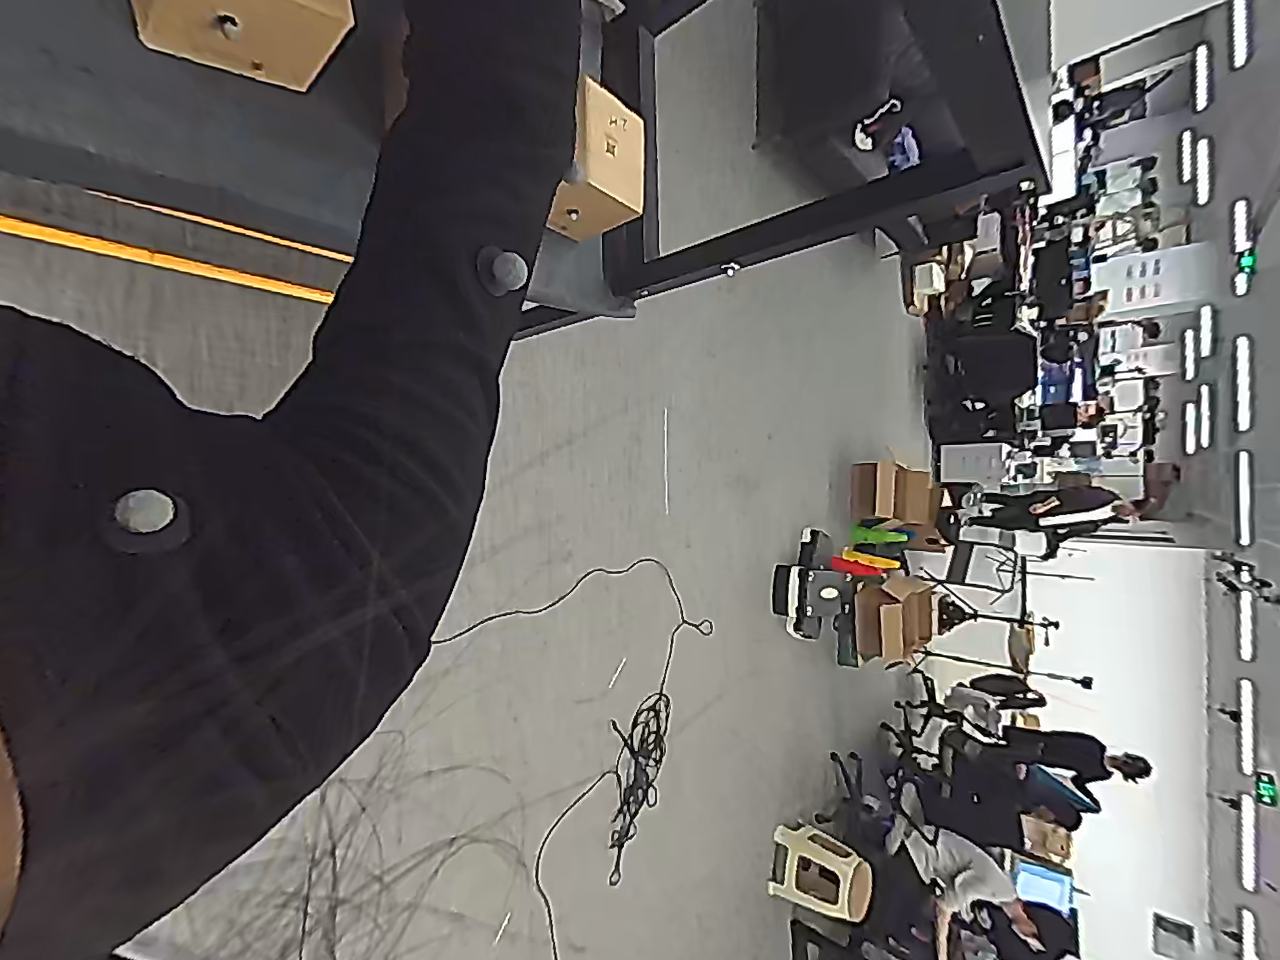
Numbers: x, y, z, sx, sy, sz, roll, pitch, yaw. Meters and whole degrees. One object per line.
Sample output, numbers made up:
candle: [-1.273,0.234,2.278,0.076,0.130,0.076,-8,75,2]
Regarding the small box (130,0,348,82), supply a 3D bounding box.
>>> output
small box: [-0.448,-0.581,0.585,0.168,0.176,0.179,-17,103,-47]
